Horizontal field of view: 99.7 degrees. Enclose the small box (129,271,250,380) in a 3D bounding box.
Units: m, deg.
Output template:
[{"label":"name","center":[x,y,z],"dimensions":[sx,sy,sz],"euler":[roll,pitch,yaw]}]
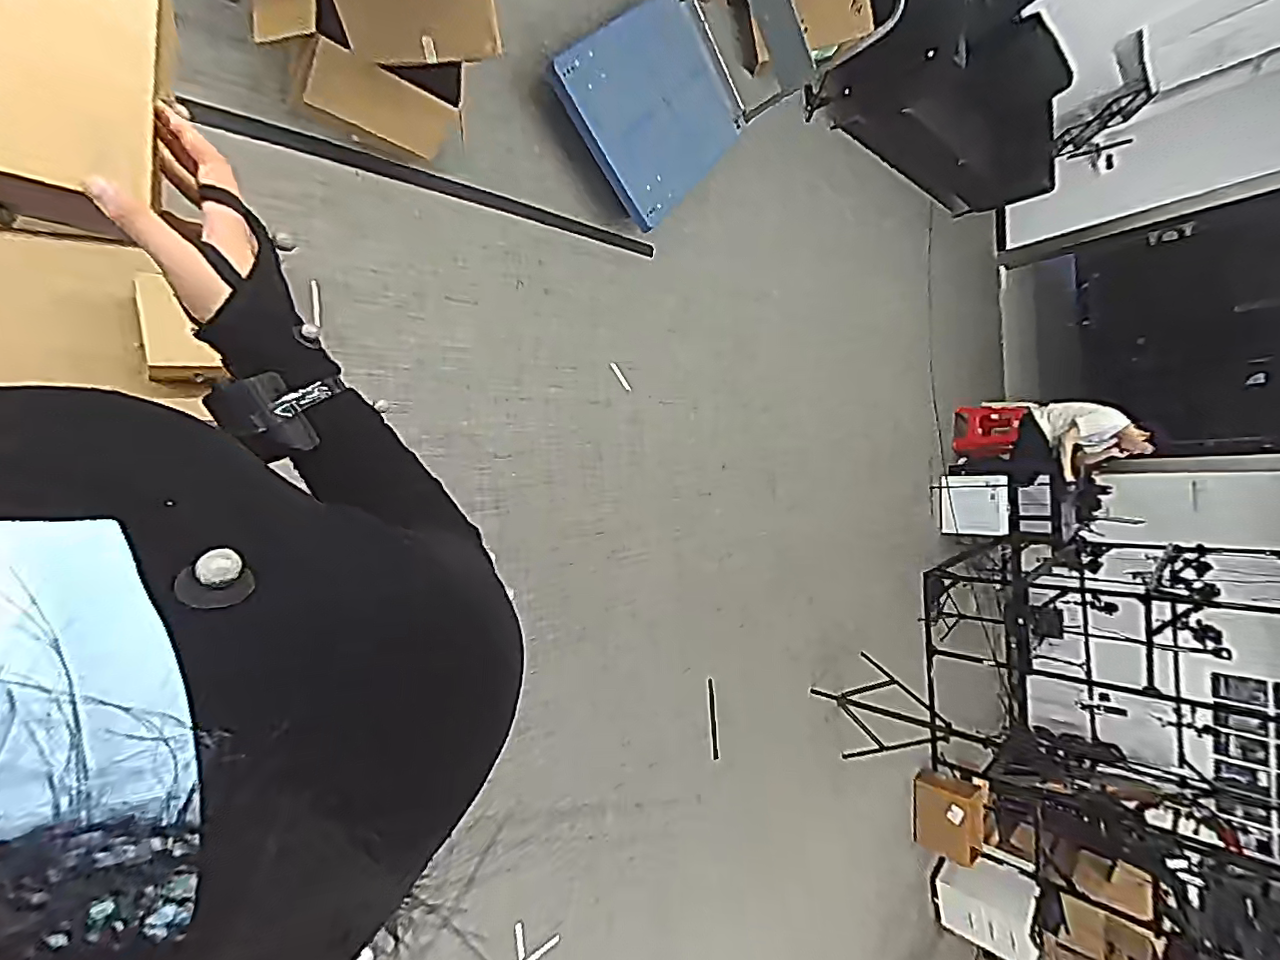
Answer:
[{"label":"small box","center":[-0.910,-0.301,1.096],"dimensions":[0.168,0.176,0.179],"euler":[-9,94,-43]}]
